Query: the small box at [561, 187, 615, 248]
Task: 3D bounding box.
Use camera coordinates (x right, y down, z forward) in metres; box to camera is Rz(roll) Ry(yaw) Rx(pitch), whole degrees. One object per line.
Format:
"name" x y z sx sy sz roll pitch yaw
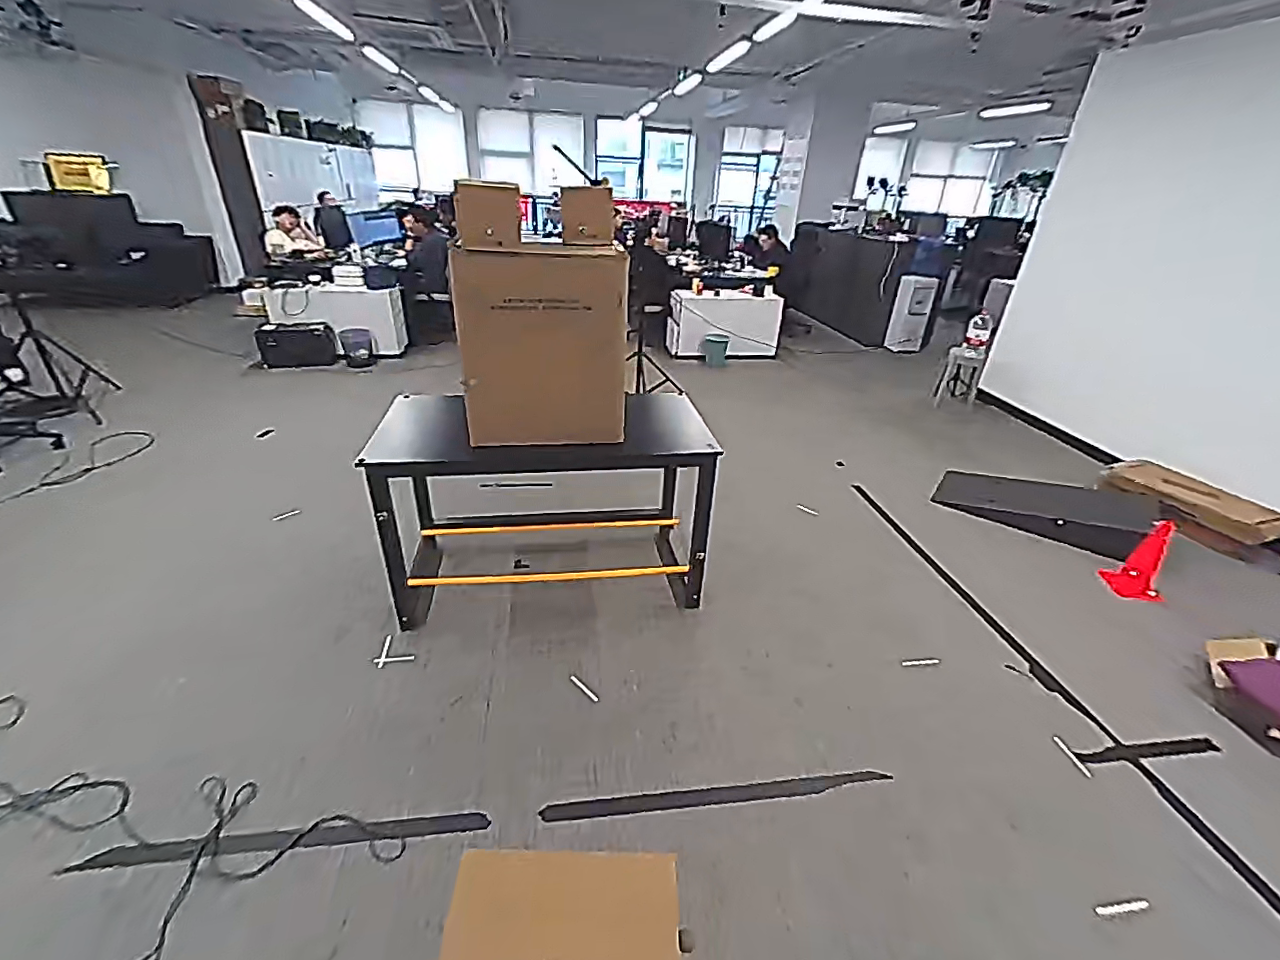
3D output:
"small box" -0.171 -0.859 1.766 0.168 0.176 0.179 -3 28 -6

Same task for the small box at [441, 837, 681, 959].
"small box" -0.059 0.399 0.404 0.168 0.176 0.179 3 39 -2
